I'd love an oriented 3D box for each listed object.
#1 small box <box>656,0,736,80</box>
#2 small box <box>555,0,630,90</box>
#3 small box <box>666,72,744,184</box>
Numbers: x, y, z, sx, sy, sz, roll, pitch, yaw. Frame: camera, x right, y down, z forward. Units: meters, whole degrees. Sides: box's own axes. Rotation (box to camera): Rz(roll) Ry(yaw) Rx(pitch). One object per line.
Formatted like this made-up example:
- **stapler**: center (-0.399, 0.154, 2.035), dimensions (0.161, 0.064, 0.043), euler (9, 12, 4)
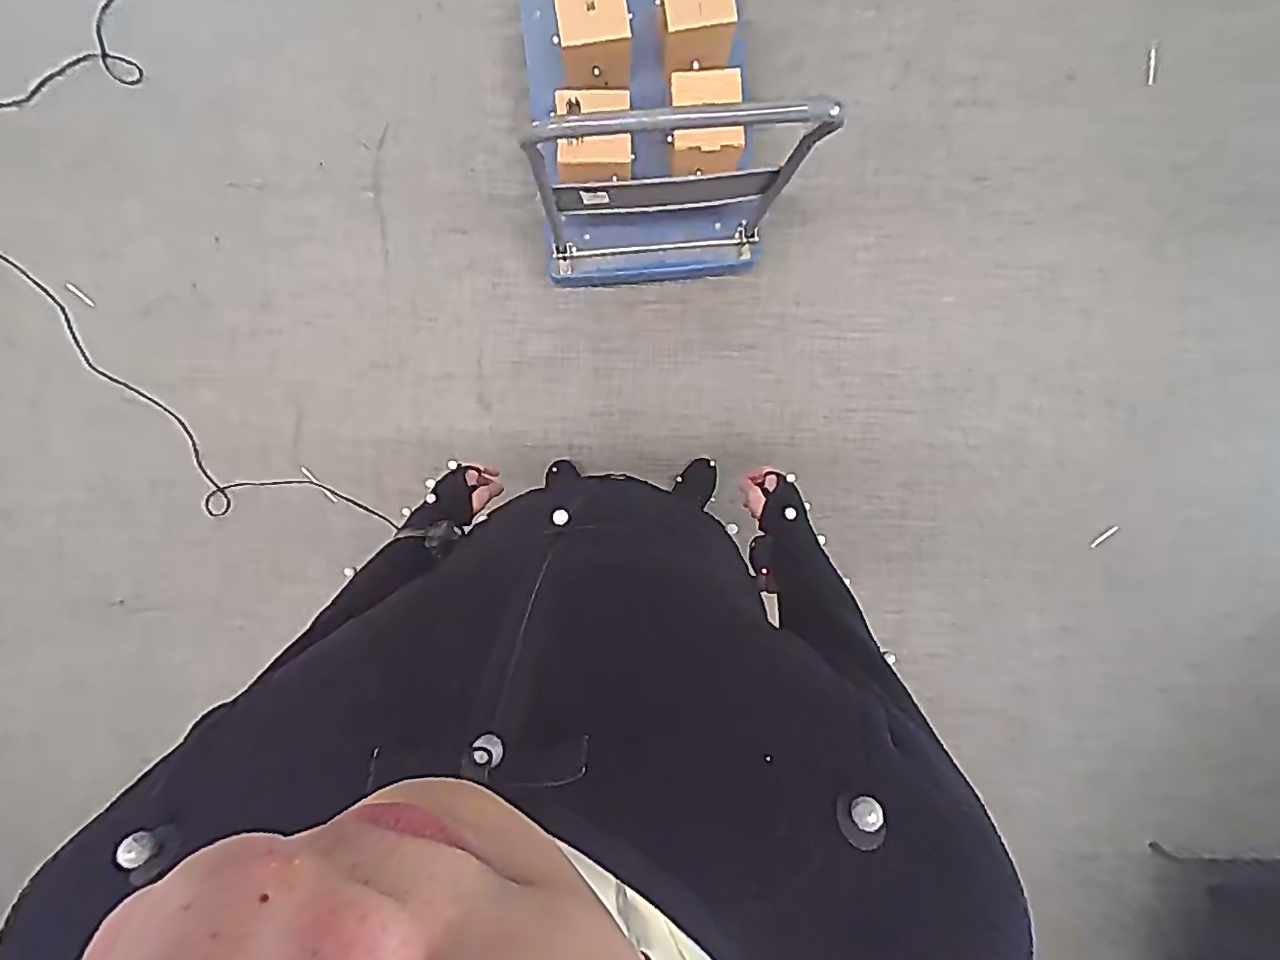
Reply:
- **small box**: center (0.133, -1.147, 1.344), dimensions (0.168, 0.176, 0.179), euler (-9, 94, 0)
- **small box**: center (-0.116, -1.106, 1.342), dimensions (0.168, 0.176, 0.179), euler (-9, 93, -1)
- **small box**: center (0.158, -0.878, 1.359), dimensions (0.168, 0.176, 0.179), euler (-5, 93, -1)
